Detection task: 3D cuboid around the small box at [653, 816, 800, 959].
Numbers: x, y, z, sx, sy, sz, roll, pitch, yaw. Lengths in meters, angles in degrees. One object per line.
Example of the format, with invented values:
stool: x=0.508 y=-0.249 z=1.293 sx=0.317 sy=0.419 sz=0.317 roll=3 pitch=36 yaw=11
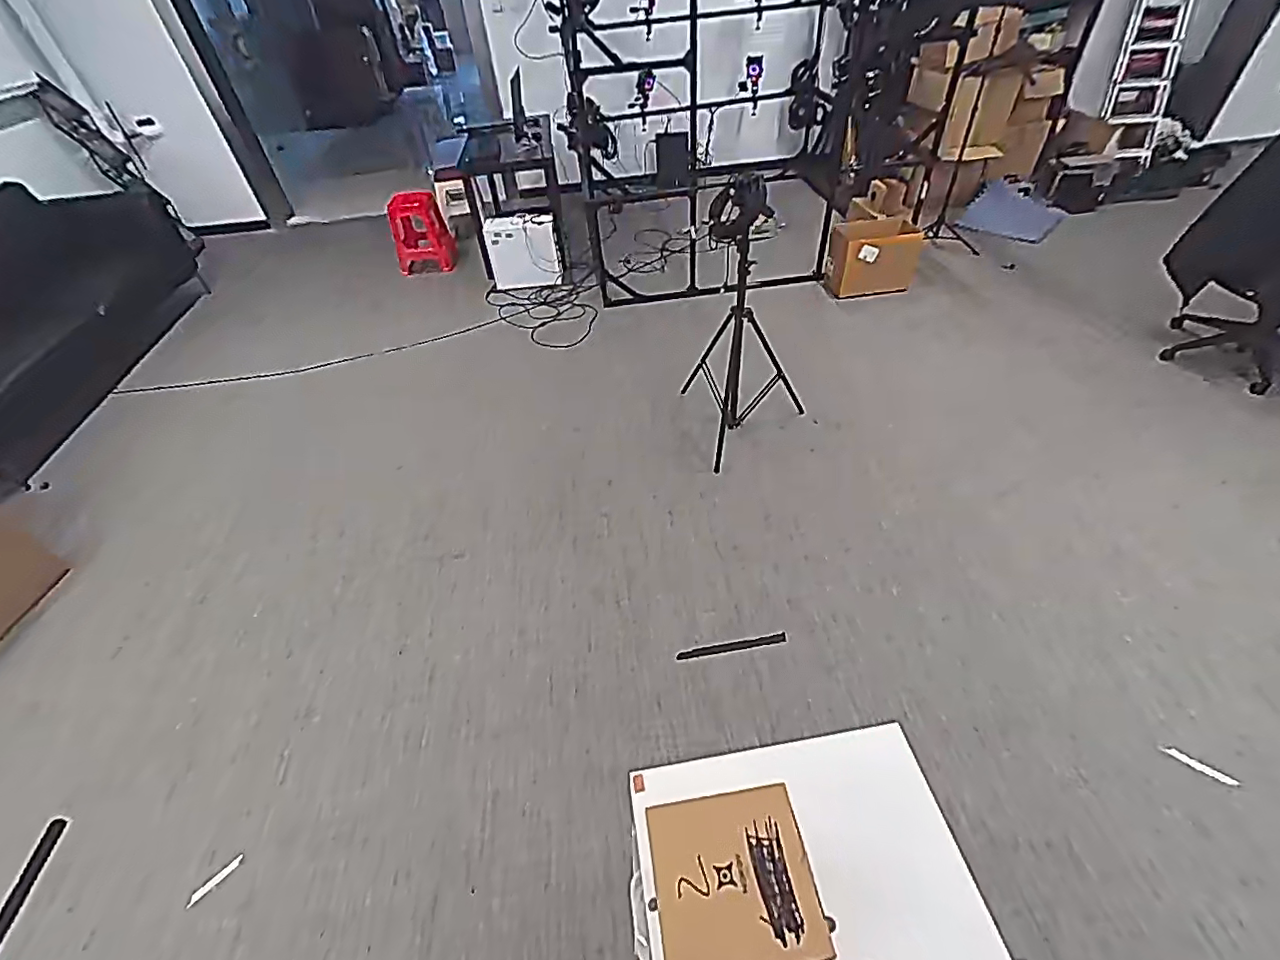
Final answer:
small box: x=0.115 y=0.610 z=0.768 sx=0.168 sy=0.176 sz=0.179 roll=-8 pitch=44 yaw=-3
